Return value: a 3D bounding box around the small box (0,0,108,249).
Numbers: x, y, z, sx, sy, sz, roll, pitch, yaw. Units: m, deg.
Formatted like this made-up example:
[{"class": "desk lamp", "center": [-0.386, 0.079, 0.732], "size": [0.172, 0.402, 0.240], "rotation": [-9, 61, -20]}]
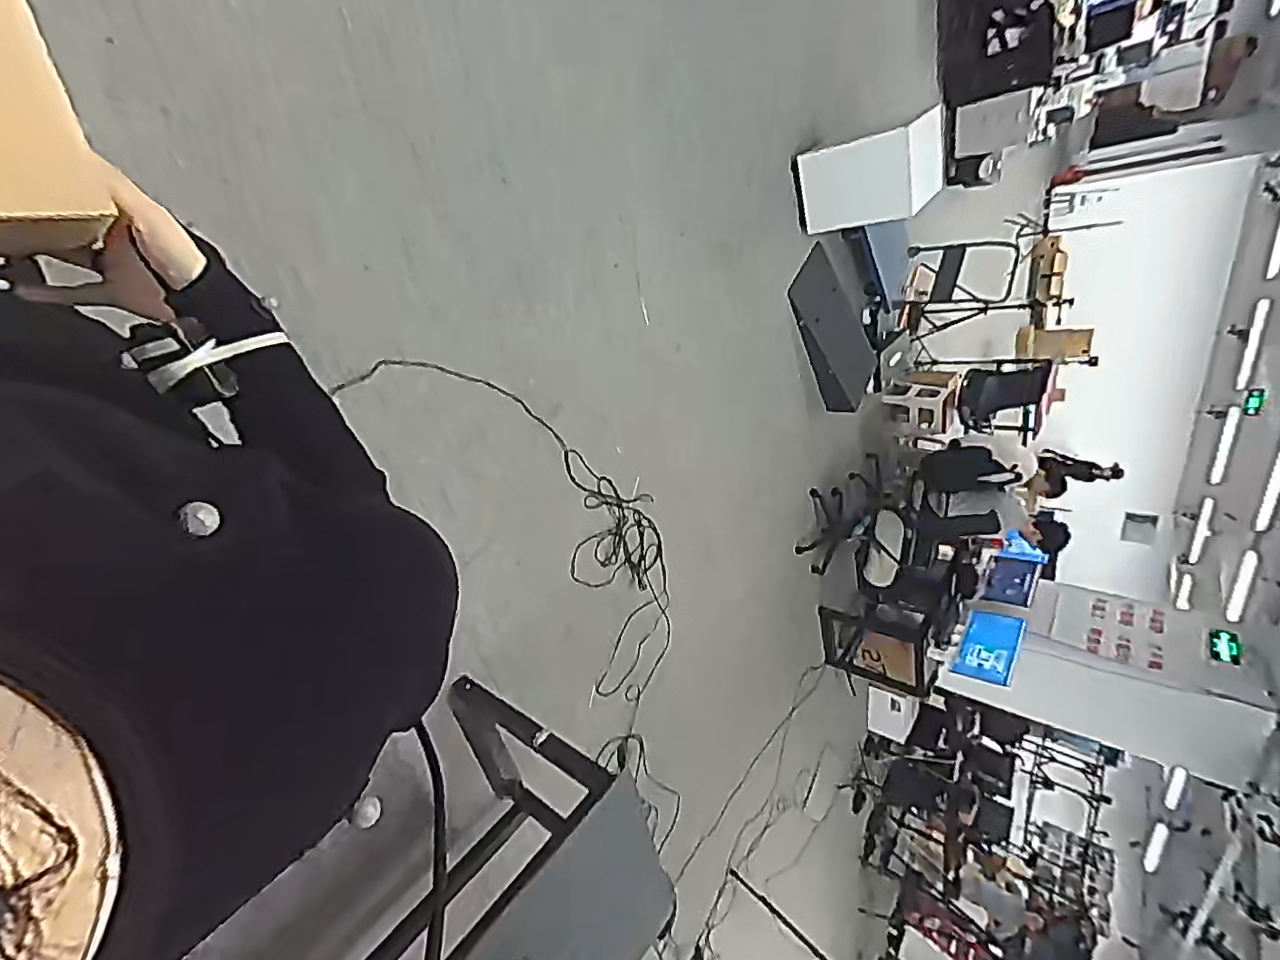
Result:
[{"class": "small box", "center": [-0.432, -0.212, 0.276], "size": [0.179, 0.176, 0.168], "rotation": [-28, 120, -43]}]
